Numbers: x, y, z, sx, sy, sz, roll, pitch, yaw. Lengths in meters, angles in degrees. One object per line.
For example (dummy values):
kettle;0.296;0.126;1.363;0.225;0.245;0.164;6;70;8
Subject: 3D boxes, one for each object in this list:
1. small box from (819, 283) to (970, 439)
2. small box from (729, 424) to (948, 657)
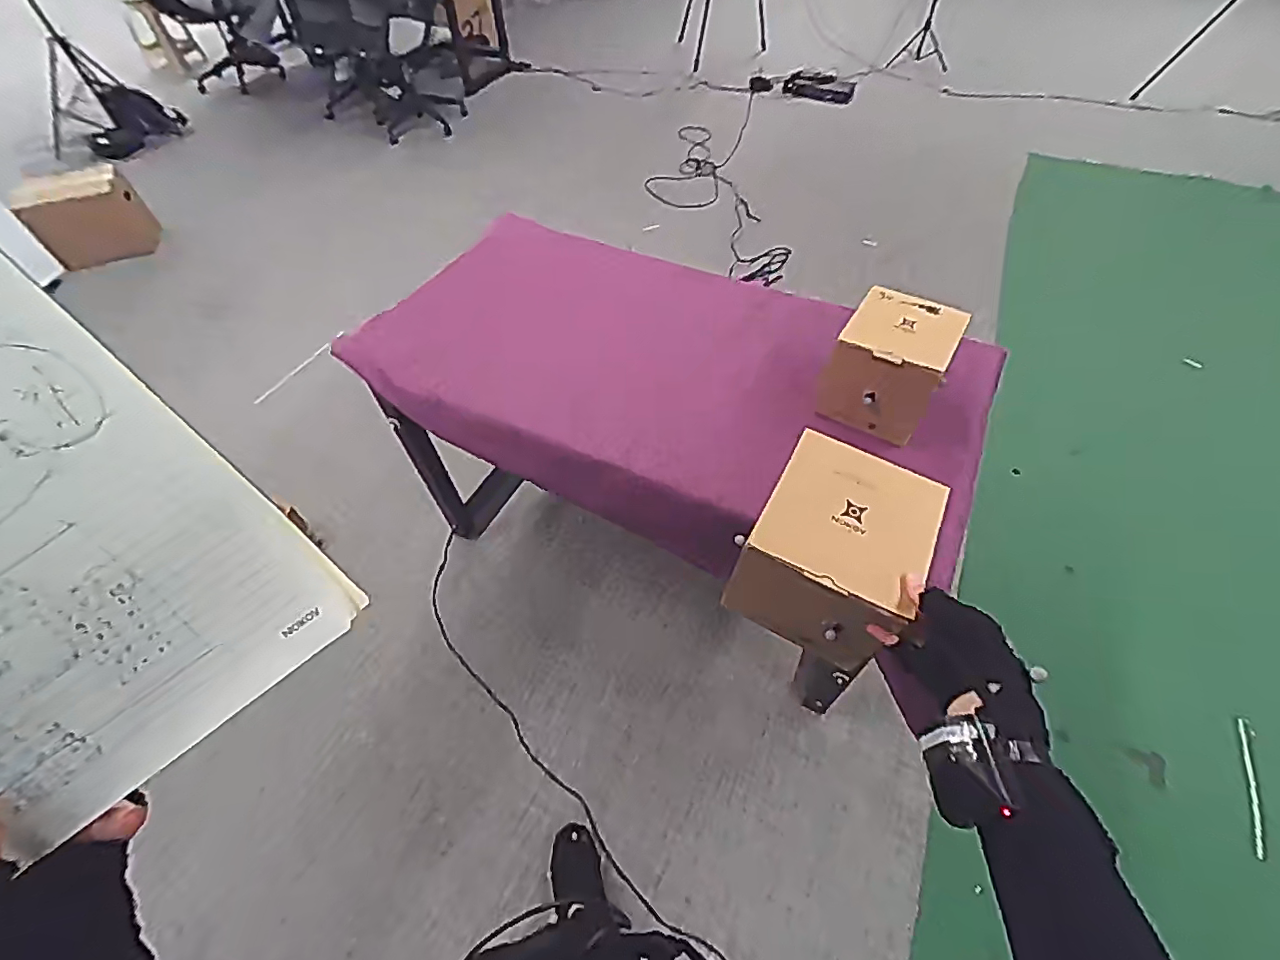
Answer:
small box;0.427;-0.201;0.931;0.168;0.176;0.179;27;59;21
small box;0.214;0.076;0.622;0.168;0.176;0.179;27;60;14
